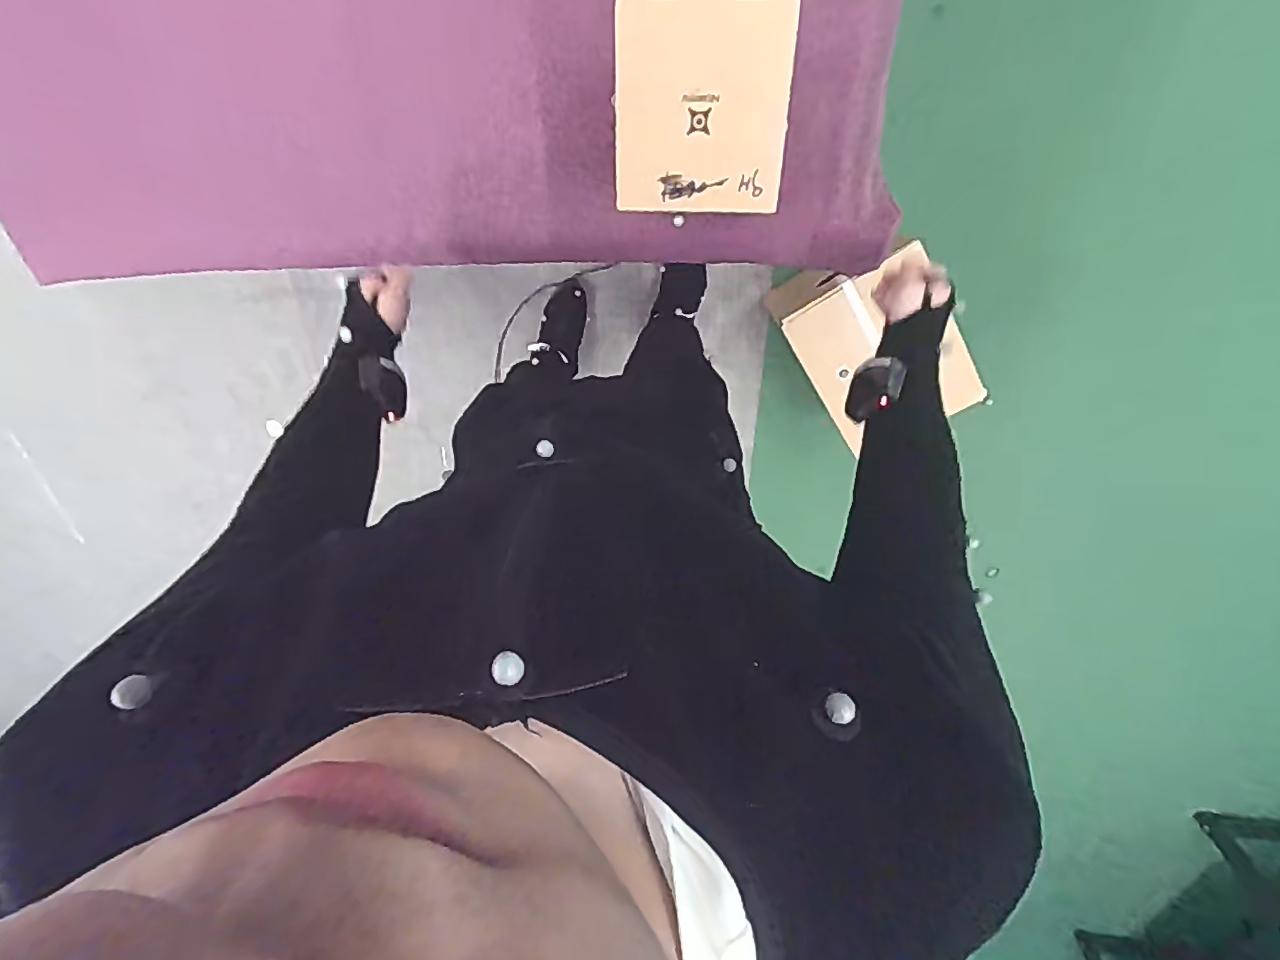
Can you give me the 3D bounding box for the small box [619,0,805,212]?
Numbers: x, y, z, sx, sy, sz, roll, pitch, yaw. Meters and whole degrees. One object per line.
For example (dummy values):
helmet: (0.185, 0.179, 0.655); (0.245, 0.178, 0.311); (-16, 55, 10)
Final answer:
small box: (0.069, -0.391, 0.585); (0.168, 0.176, 0.179); (4, 117, 5)
